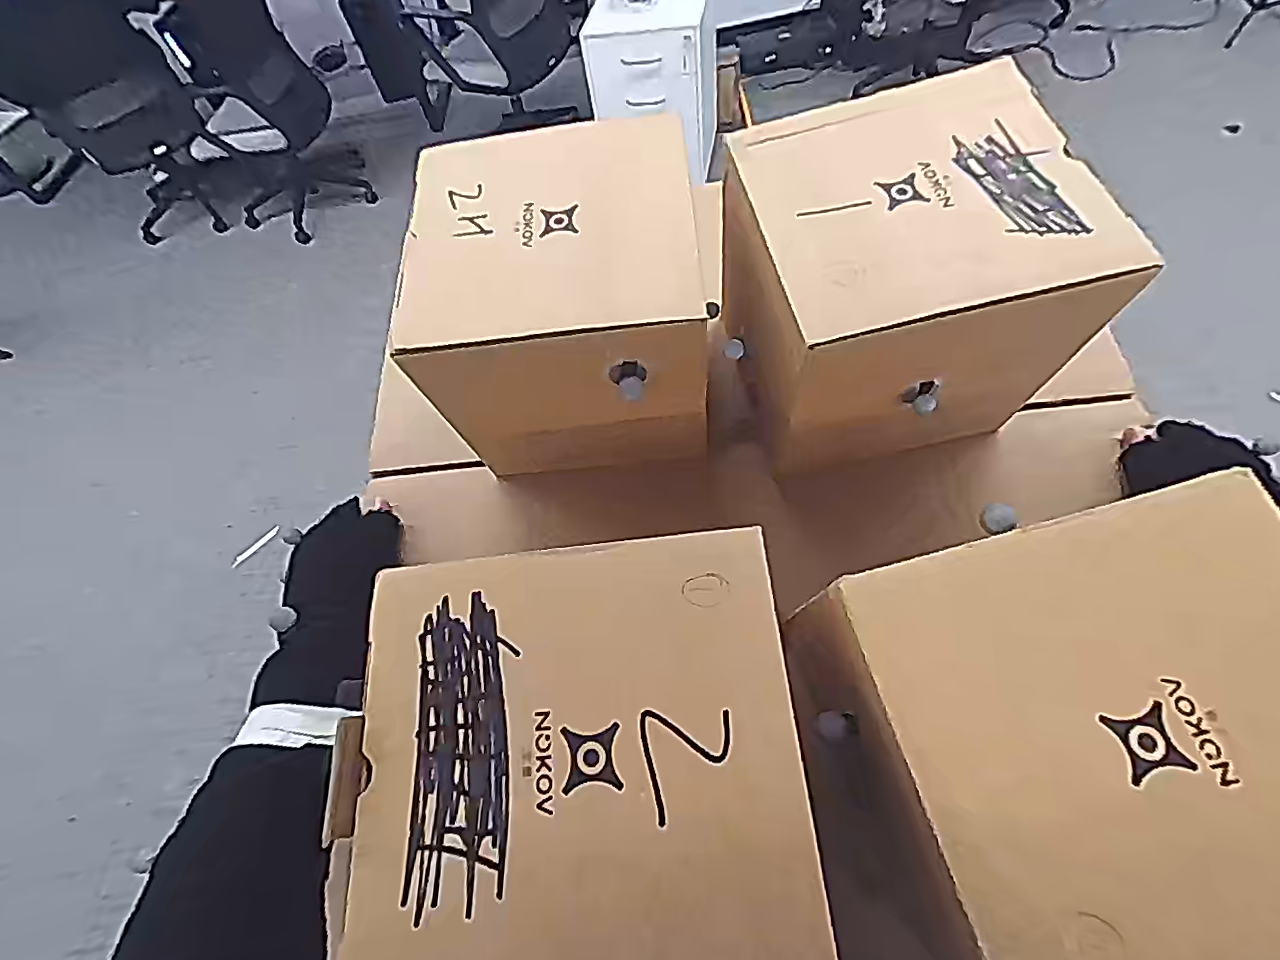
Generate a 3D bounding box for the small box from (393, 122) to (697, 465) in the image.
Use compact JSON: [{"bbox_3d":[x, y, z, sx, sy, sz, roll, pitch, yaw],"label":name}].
[{"bbox_3d":[-0.049,-0.123,0.405,0.179,0.176,0.168,-5,66,6],"label":"small box"}]
